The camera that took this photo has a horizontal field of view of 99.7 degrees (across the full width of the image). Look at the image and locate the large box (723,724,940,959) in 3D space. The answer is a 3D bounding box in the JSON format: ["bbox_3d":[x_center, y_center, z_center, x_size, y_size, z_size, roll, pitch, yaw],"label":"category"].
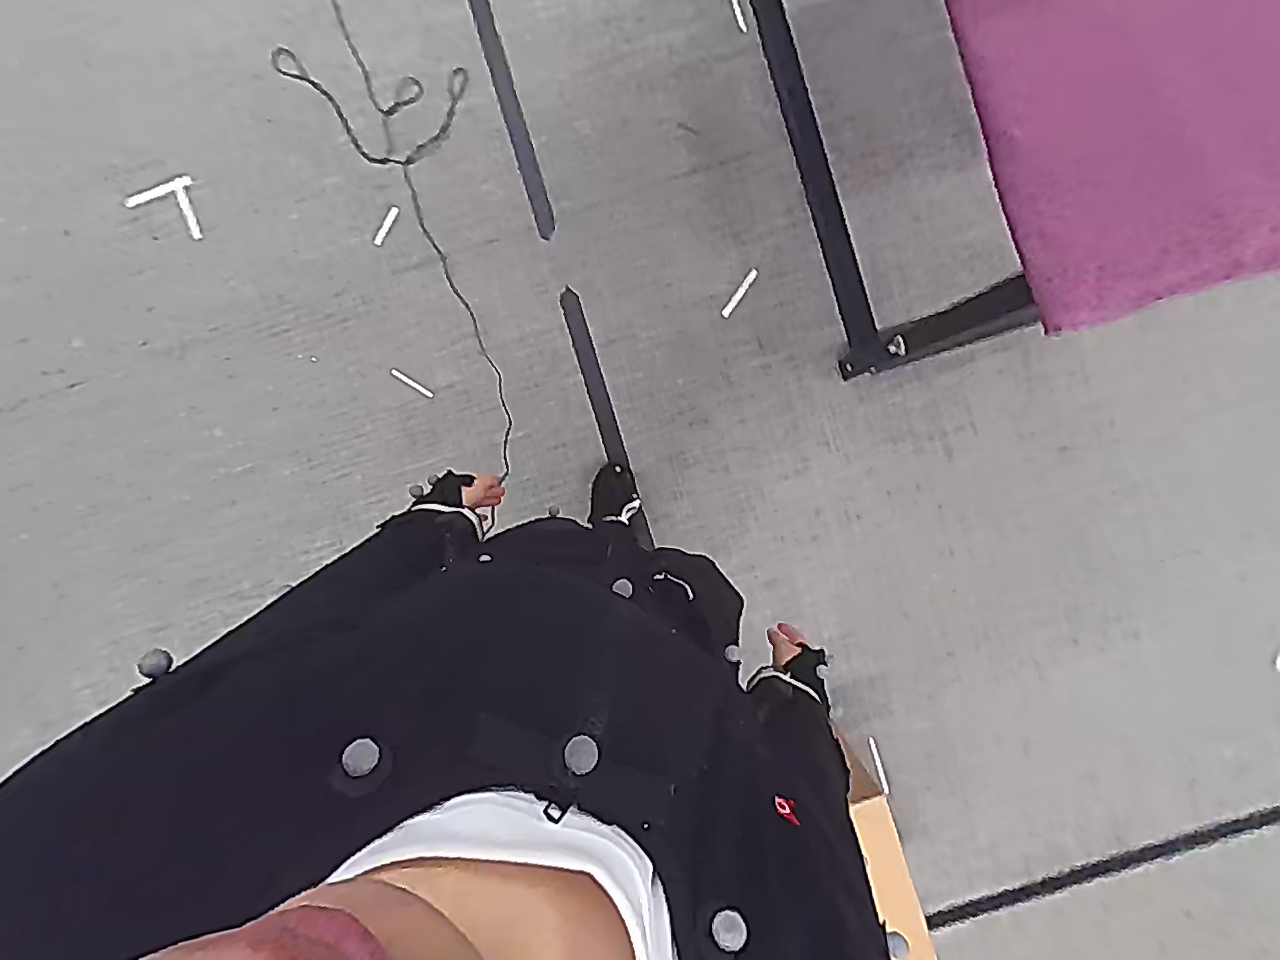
[{"bbox_3d":[0.415,0.865,1.253,0.320,0.320,0.408,-19,91,1],"label":"large box"}]
